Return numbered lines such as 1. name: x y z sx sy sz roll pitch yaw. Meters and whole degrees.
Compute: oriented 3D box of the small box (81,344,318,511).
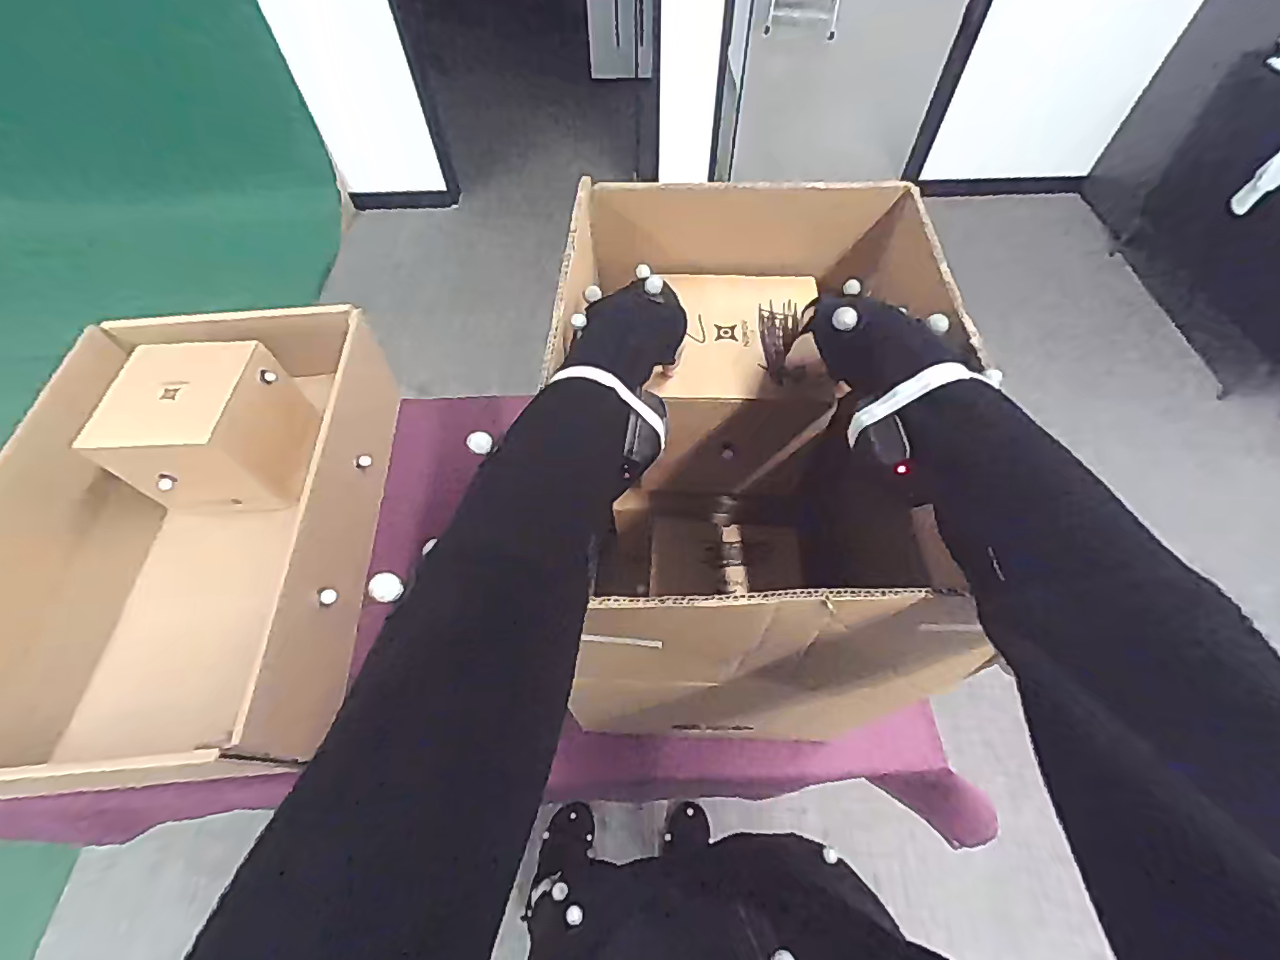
1. small box: -0.590 -0.065 0.757 0.168 0.176 0.179 -3 58 1
